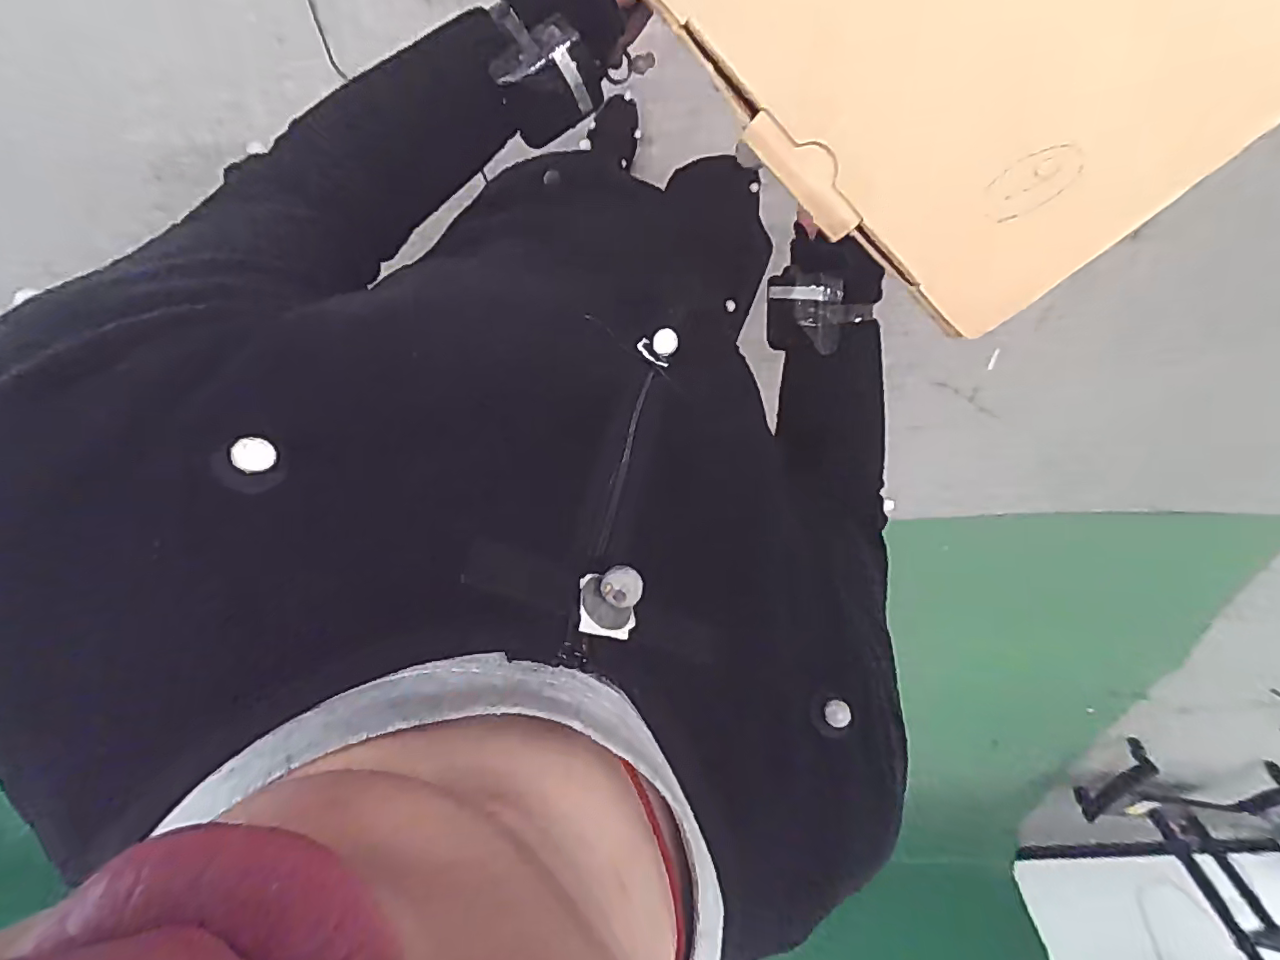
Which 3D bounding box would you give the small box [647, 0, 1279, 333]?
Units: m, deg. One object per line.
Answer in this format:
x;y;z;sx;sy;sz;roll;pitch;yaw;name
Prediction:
0.111;-0.189;0.169;0.168;0.176;0.179;35;126;-21;small box
